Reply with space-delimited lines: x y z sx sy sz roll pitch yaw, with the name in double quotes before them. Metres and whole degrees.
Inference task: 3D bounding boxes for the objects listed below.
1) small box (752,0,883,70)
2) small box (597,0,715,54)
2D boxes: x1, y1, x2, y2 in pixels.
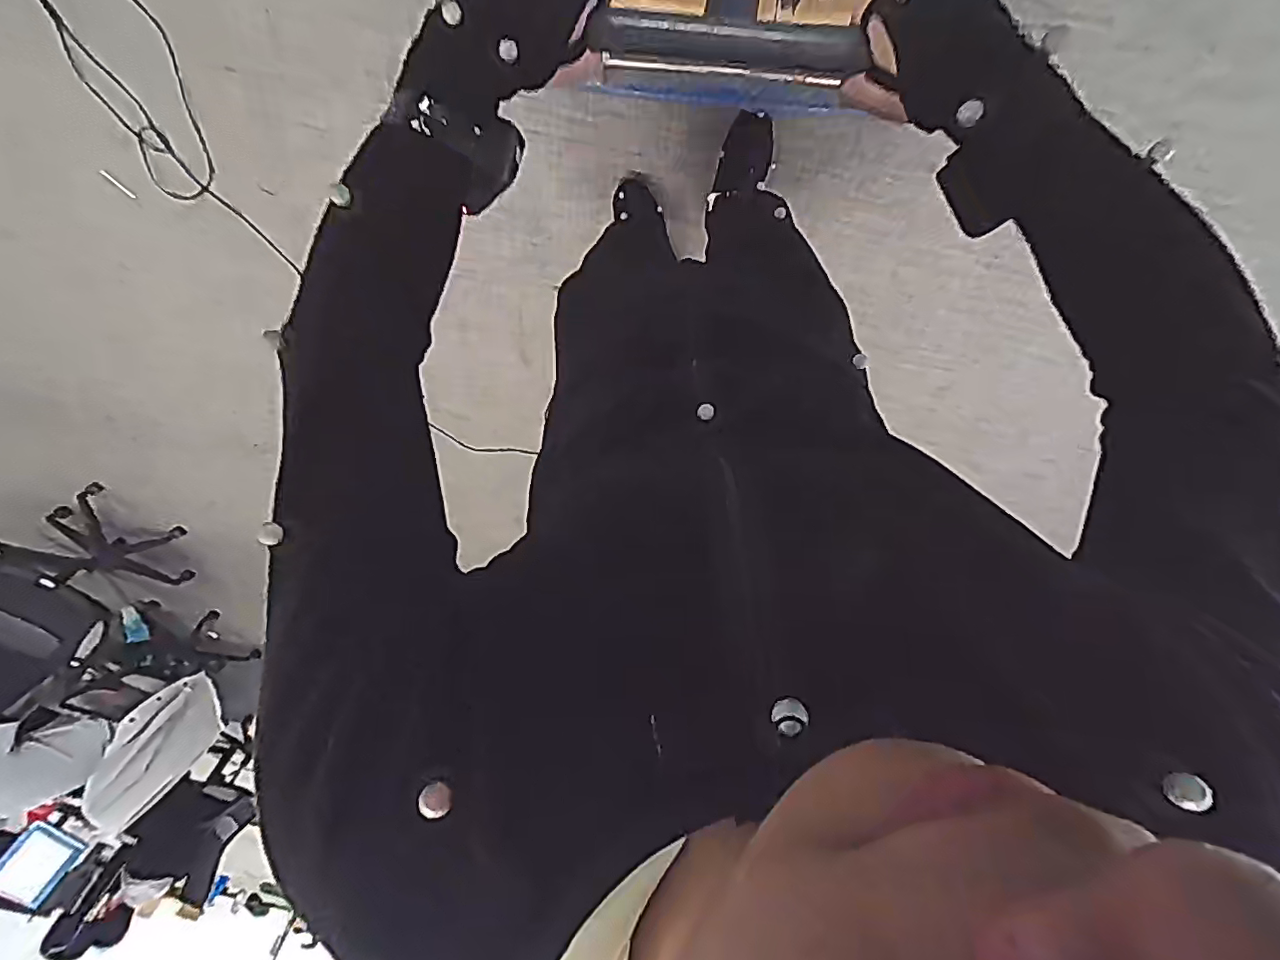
"small box" 0.270 -0.742 0.831 0.179 0.176 0.168 5 124 5
"small box" 0.040 -0.796 0.838 0.168 0.176 0.179 14 124 0
